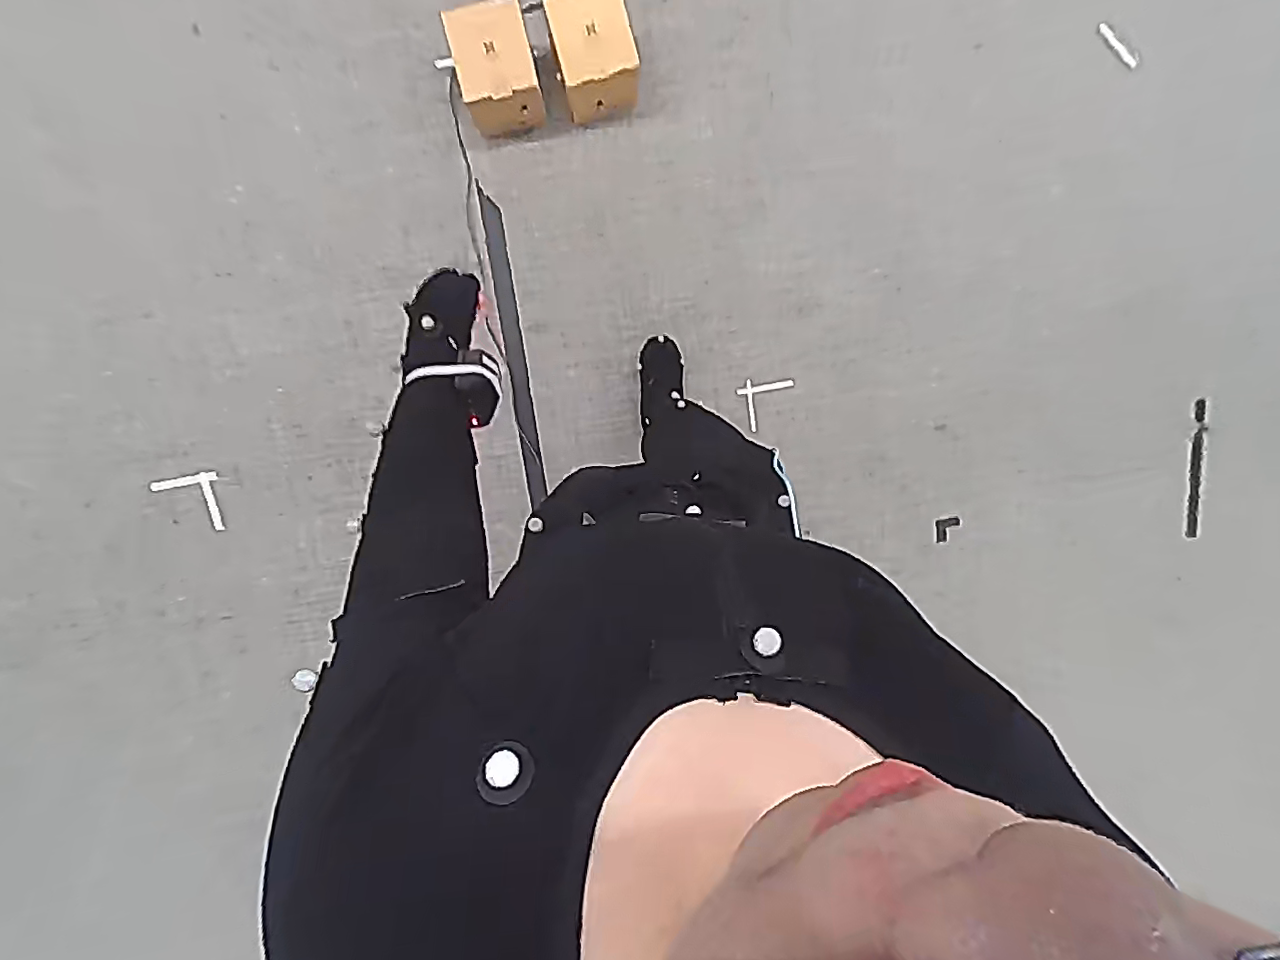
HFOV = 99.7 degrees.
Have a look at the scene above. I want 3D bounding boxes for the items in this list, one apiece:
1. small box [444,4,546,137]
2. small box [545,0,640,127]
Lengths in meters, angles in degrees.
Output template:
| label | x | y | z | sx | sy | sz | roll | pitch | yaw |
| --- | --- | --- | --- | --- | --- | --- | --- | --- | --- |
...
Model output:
| label | x | y | z | sx | sy | sz | roll | pitch | yaw |
| --- | --- | --- | --- | --- | --- | --- | --- | --- | --- |
| small box | -0.318 | -0.912 | 1.227 | 0.168 | 0.176 | 0.179 | -13 | 99 | 0 |
| small box | -0.105 | -0.952 | 1.229 | 0.168 | 0.176 | 0.179 | -17 | 100 | 1 |
